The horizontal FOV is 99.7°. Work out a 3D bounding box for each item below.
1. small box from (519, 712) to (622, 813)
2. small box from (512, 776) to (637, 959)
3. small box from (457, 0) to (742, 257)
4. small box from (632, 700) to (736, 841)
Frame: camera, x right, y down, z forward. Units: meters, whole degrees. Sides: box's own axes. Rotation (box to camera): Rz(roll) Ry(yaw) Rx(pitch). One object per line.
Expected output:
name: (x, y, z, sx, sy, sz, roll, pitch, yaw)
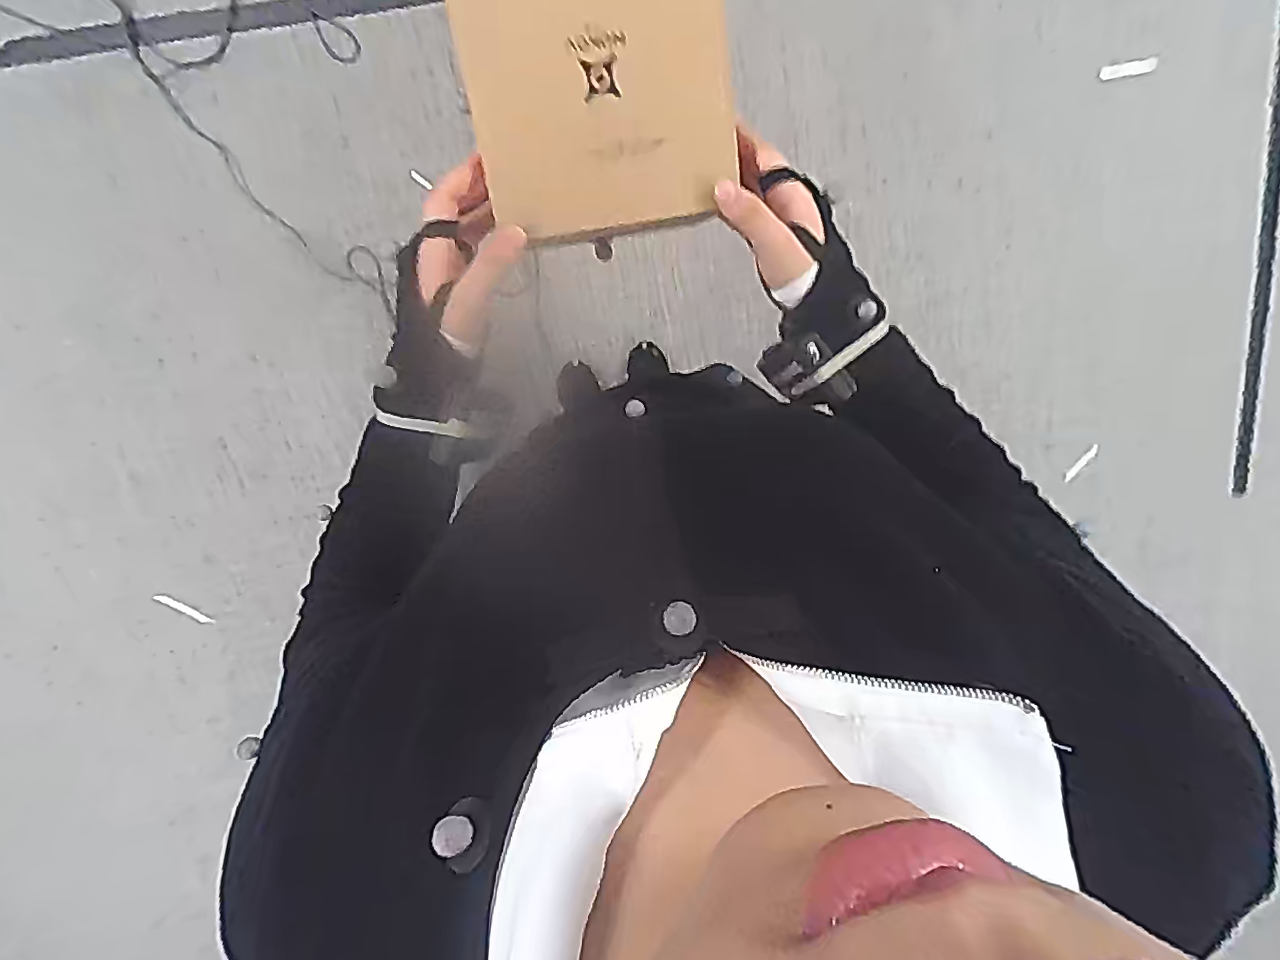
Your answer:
small box: (-0.127, 0.591, 1.061, 0.168, 0.176, 0.179, -9, 103, -1)
small box: (-0.100, 0.638, 0.904, 0.168, 0.176, 0.179, -11, 103, 0)
small box: (-0.028, -0.276, 0.410, 0.168, 0.176, 0.179, -9, 111, -1)
small box: (0.080, 0.558, 1.068, 0.168, 0.176, 0.179, -9, 102, -4)
